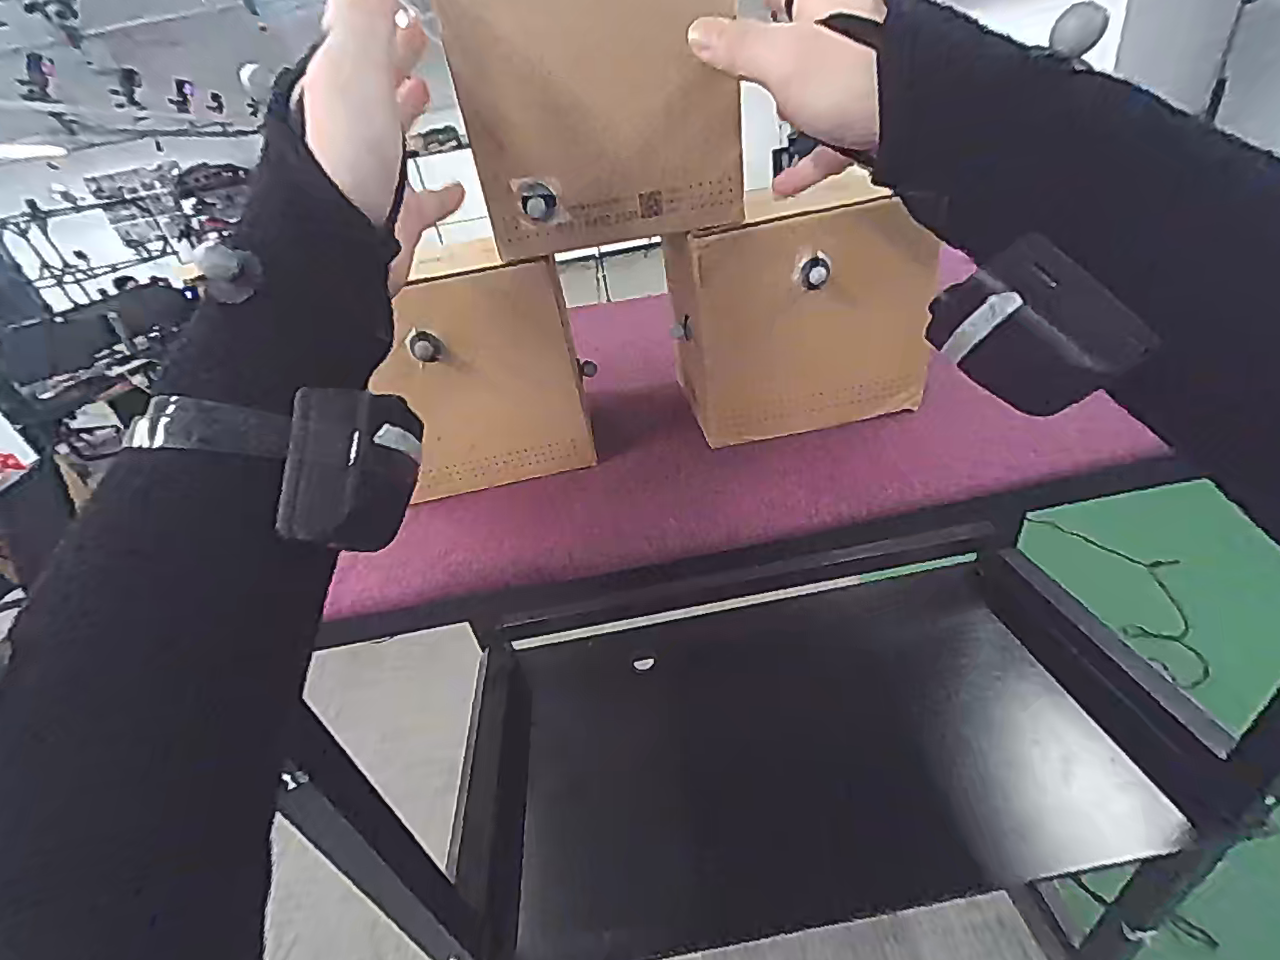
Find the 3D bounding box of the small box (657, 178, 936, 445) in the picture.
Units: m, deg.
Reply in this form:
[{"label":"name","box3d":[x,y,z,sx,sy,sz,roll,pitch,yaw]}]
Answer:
[{"label":"small box","box3d":[0.118,-0.145,0.462,0.179,0.176,0.168,-11,33,0]}]

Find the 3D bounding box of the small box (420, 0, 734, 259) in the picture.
[{"label":"small box","box3d":[-0.032,-0.265,0.387,0.168,0.176,0.179,-9,32,1]}]

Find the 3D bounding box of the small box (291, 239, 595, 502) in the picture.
[{"label":"small box","box3d":[-0.146,-0.100,0.470,0.179,0.176,0.168,-12,33,-1]}]
